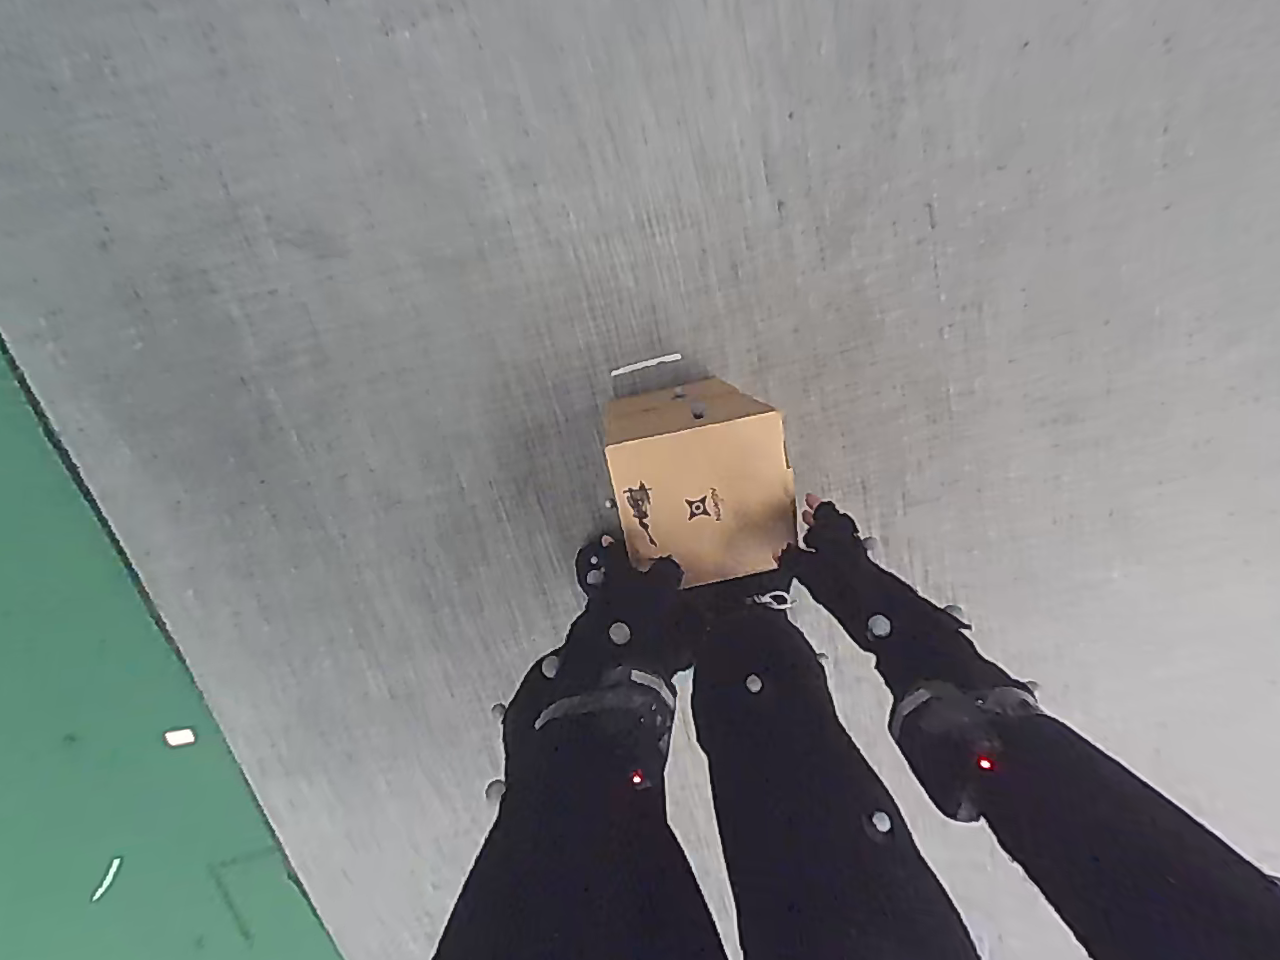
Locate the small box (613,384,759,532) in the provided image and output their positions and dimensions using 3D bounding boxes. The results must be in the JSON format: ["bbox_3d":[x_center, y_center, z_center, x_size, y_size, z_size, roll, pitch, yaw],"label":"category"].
[{"bbox_3d":[0.059,-0.041,0.777,0.179,0.176,0.168,-9,104,1],"label":"small box"}]
